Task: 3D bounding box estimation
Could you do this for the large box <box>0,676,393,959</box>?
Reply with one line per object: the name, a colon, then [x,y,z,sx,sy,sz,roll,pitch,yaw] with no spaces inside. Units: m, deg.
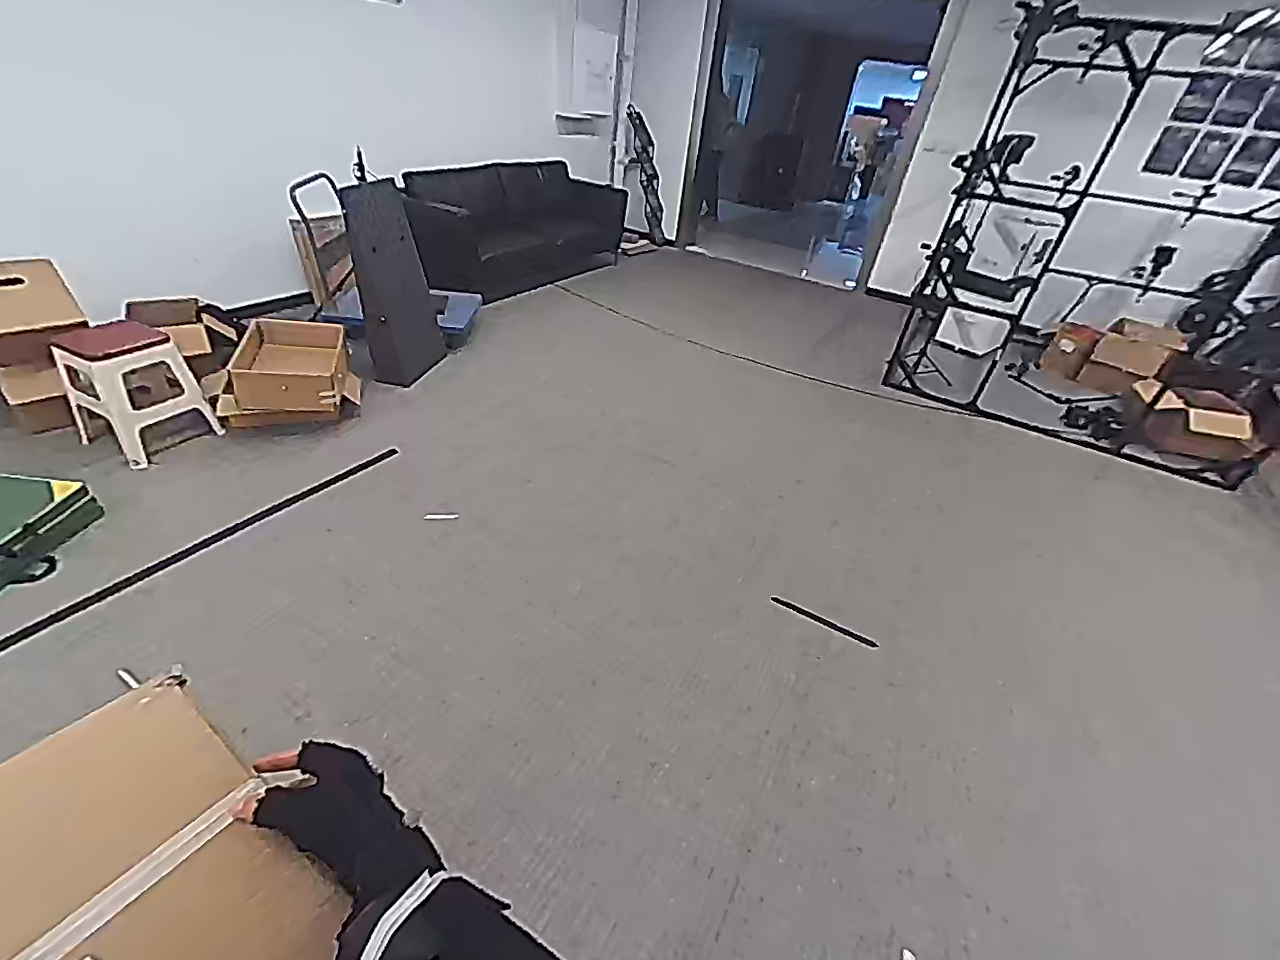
large box: [-0.454,0.453,0.403,0.320,0.320,0.408,33,40,19]
